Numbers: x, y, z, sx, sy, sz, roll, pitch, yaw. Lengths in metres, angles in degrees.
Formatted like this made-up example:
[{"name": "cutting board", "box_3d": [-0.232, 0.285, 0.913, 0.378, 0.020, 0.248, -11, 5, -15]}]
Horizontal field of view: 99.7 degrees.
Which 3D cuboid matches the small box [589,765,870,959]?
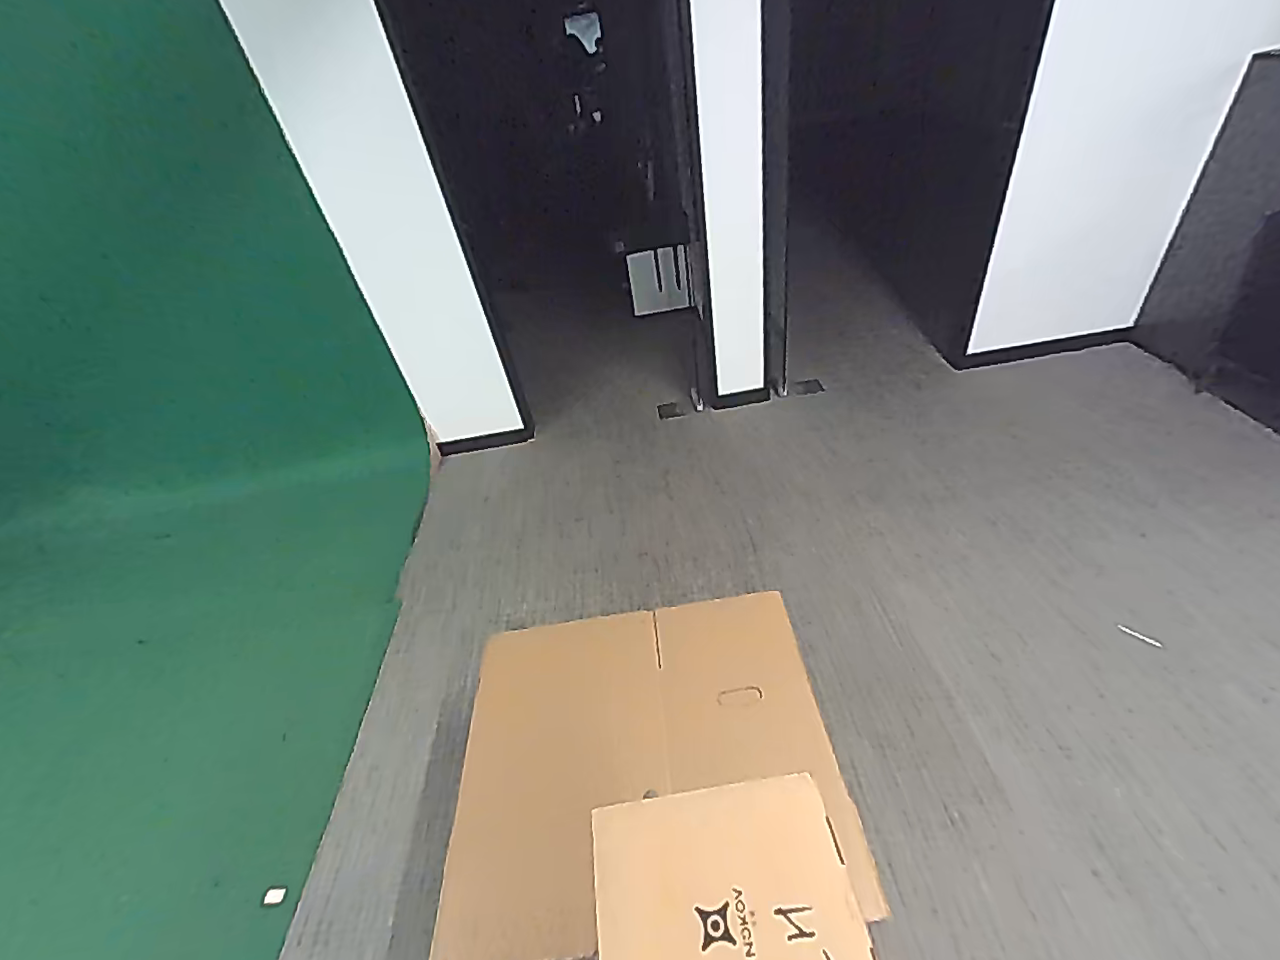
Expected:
[{"name": "small box", "box_3d": [0.064, 0.345, 0.414, 0.179, 0.176, 0.168, -9, 43, 0]}]
